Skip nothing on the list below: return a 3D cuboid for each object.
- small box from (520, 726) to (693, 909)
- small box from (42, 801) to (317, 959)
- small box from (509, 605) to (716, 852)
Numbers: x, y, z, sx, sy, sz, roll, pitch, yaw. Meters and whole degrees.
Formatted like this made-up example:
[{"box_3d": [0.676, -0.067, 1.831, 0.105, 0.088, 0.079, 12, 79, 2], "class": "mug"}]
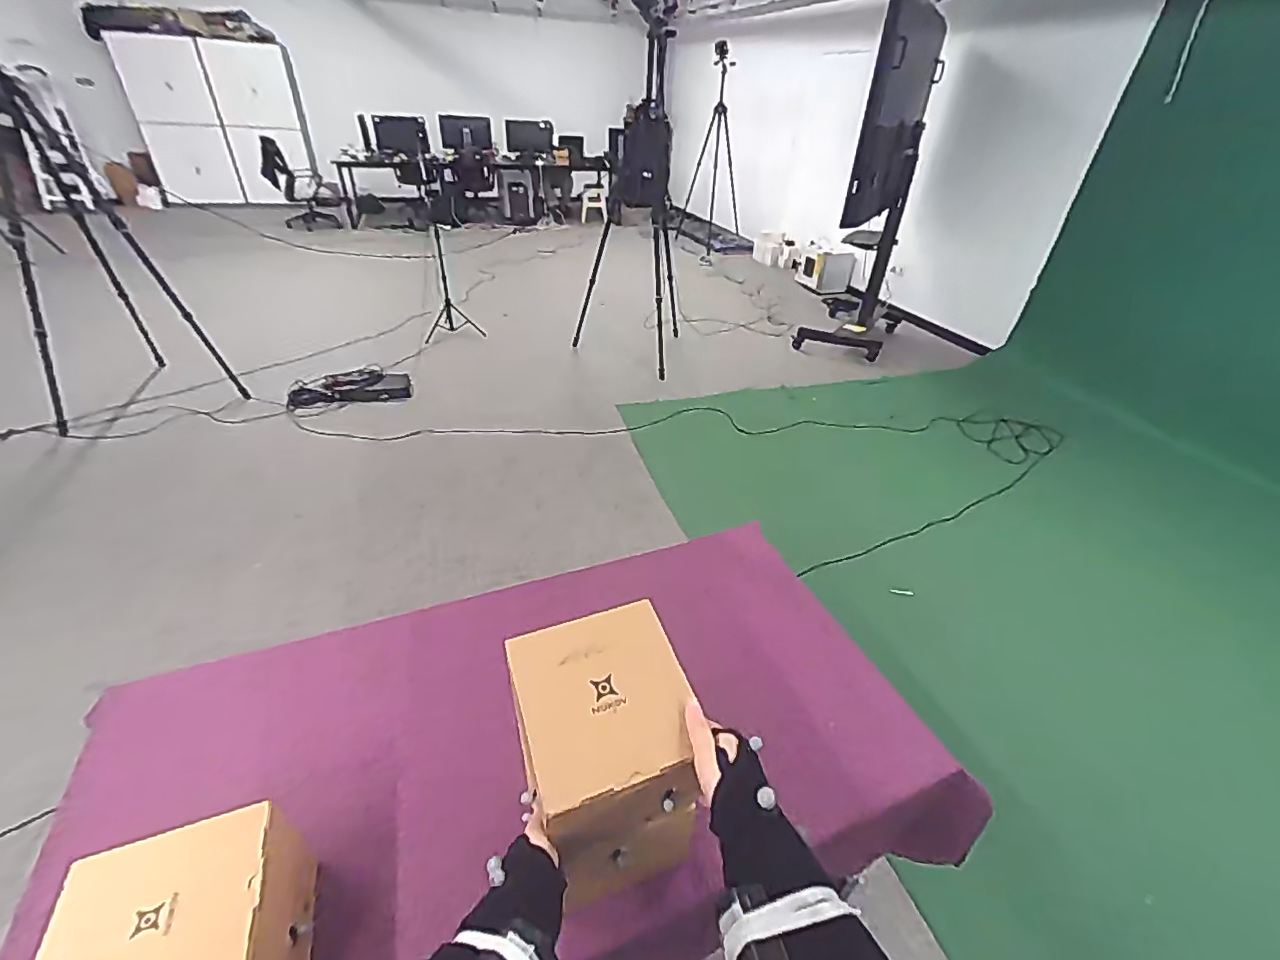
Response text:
[{"box_3d": [-0.048, 0.406, 0.695, 0.179, 0.176, 0.168, -10, 39, -18], "class": "small box"}, {"box_3d": [-0.460, 0.481, 0.558, 0.179, 0.176, 0.168, -10, 37, -20], "class": "small box"}, {"box_3d": [-0.038, 0.271, 0.585, 0.168, 0.176, 0.179, -11, 46, -19], "class": "small box"}]
